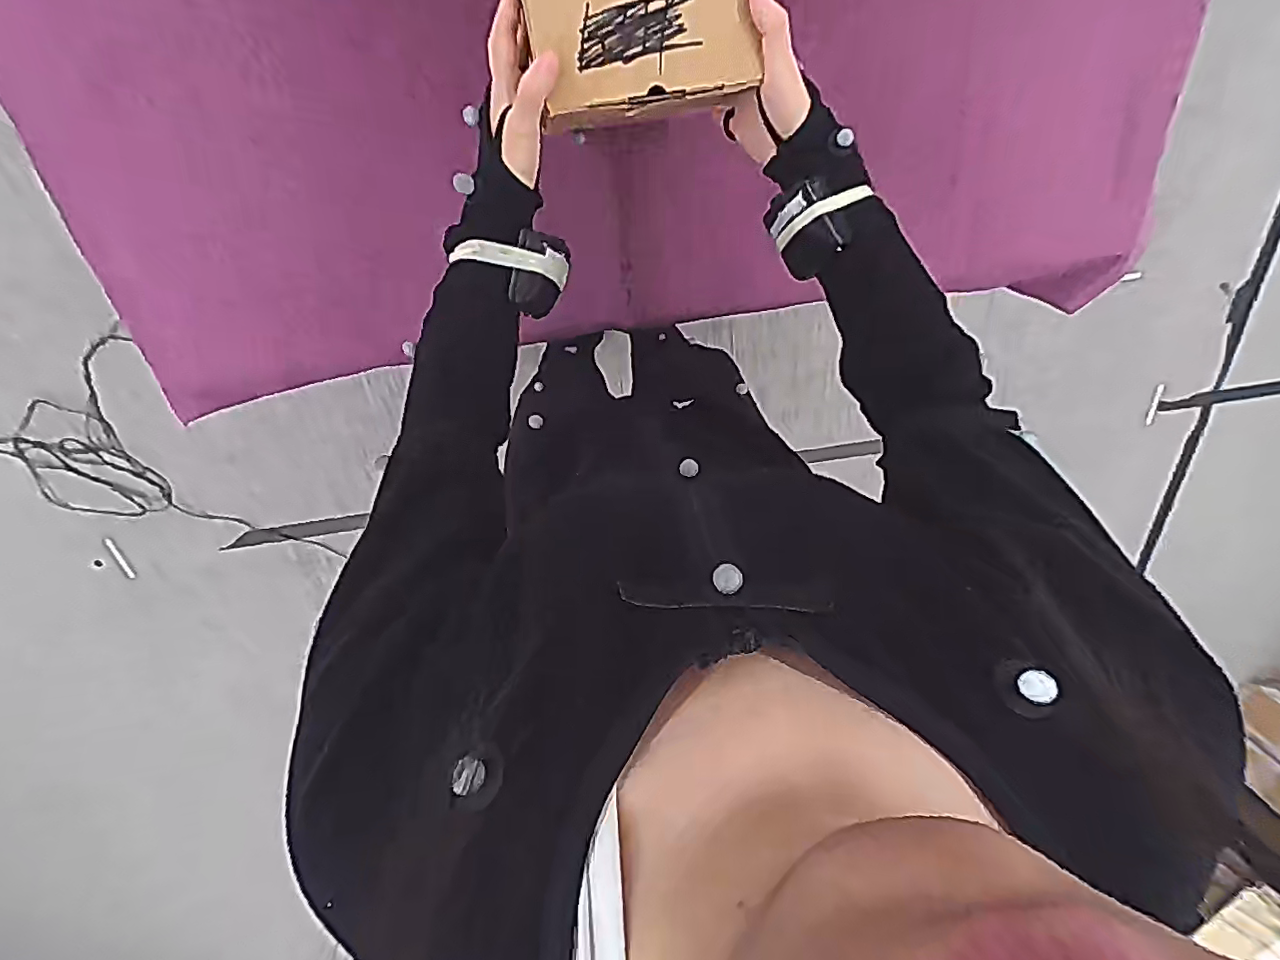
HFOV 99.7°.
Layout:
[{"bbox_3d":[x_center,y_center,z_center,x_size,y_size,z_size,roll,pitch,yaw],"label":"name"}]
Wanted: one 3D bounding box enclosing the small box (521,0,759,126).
[{"bbox_3d":[-0.012,-0.400,0.435,0.168,0.176,0.179,-12,118,-5],"label":"small box"}]
